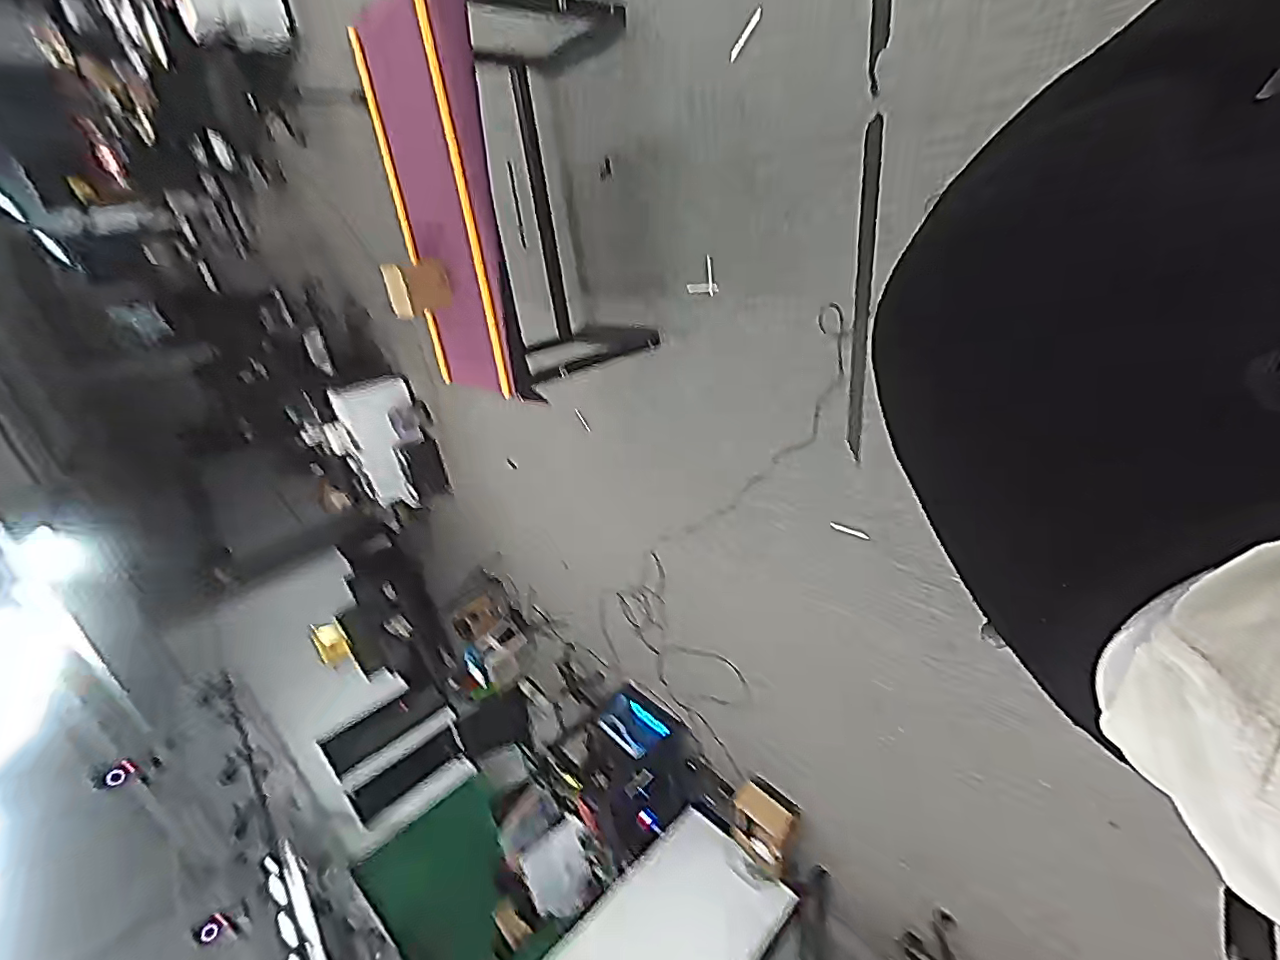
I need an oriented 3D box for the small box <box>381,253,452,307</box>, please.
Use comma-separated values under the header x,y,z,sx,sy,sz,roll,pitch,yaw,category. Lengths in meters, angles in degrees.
x,y,z,sx,sy,sz,roll,pitch,yaw,category
-0.831,-0.749,2.015,0.179,0.176,0.168,20,127,42,small box
